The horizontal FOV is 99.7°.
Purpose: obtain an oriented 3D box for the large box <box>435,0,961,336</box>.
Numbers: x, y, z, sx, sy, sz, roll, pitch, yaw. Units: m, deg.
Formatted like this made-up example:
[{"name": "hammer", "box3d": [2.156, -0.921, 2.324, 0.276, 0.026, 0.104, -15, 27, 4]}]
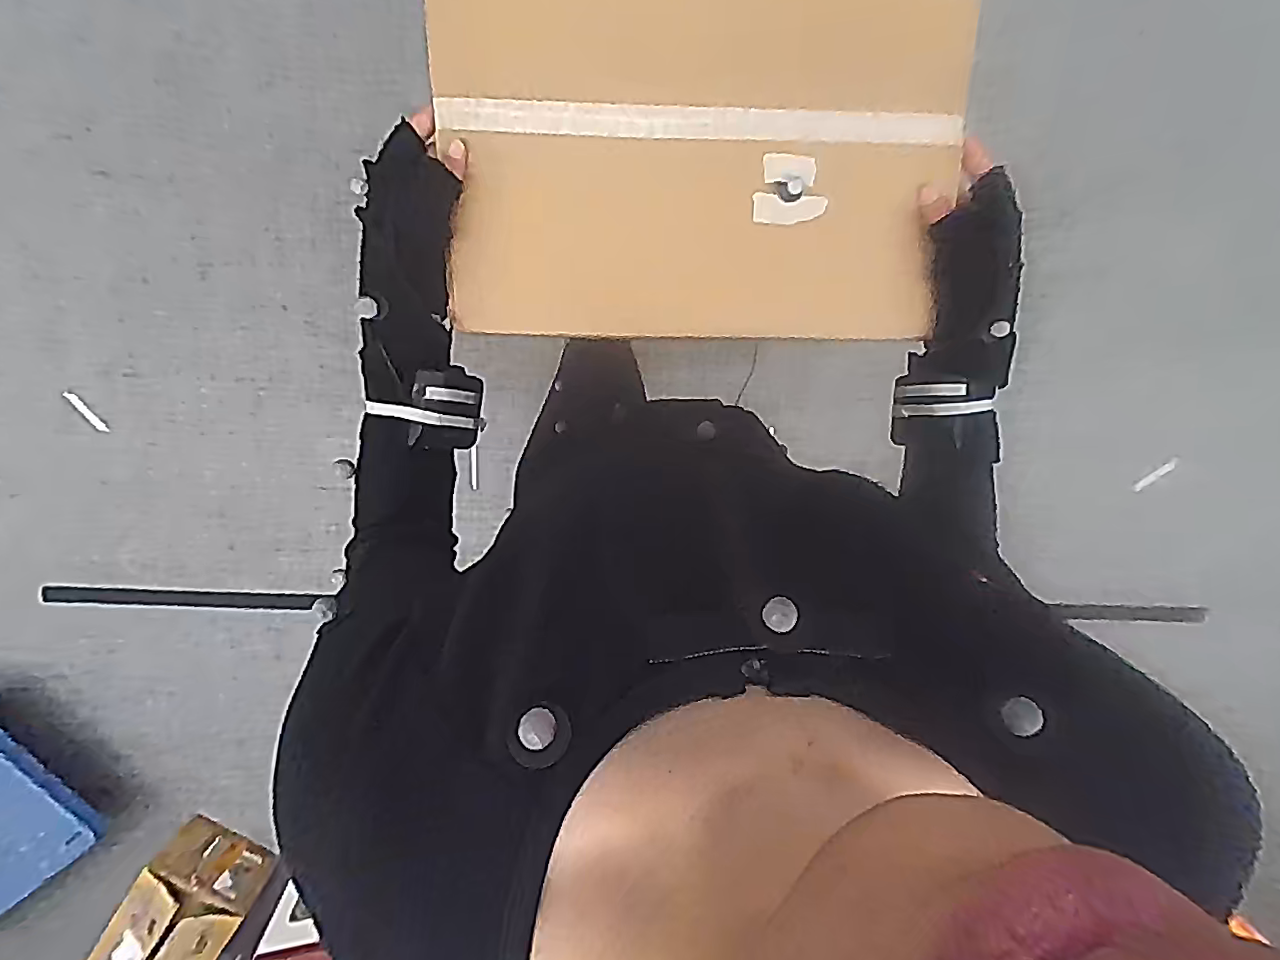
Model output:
[{"name": "large box", "box3d": [0.037, -0.317, 0.568, 0.408, 0.320, 0.320, -1, 105, -4]}]
